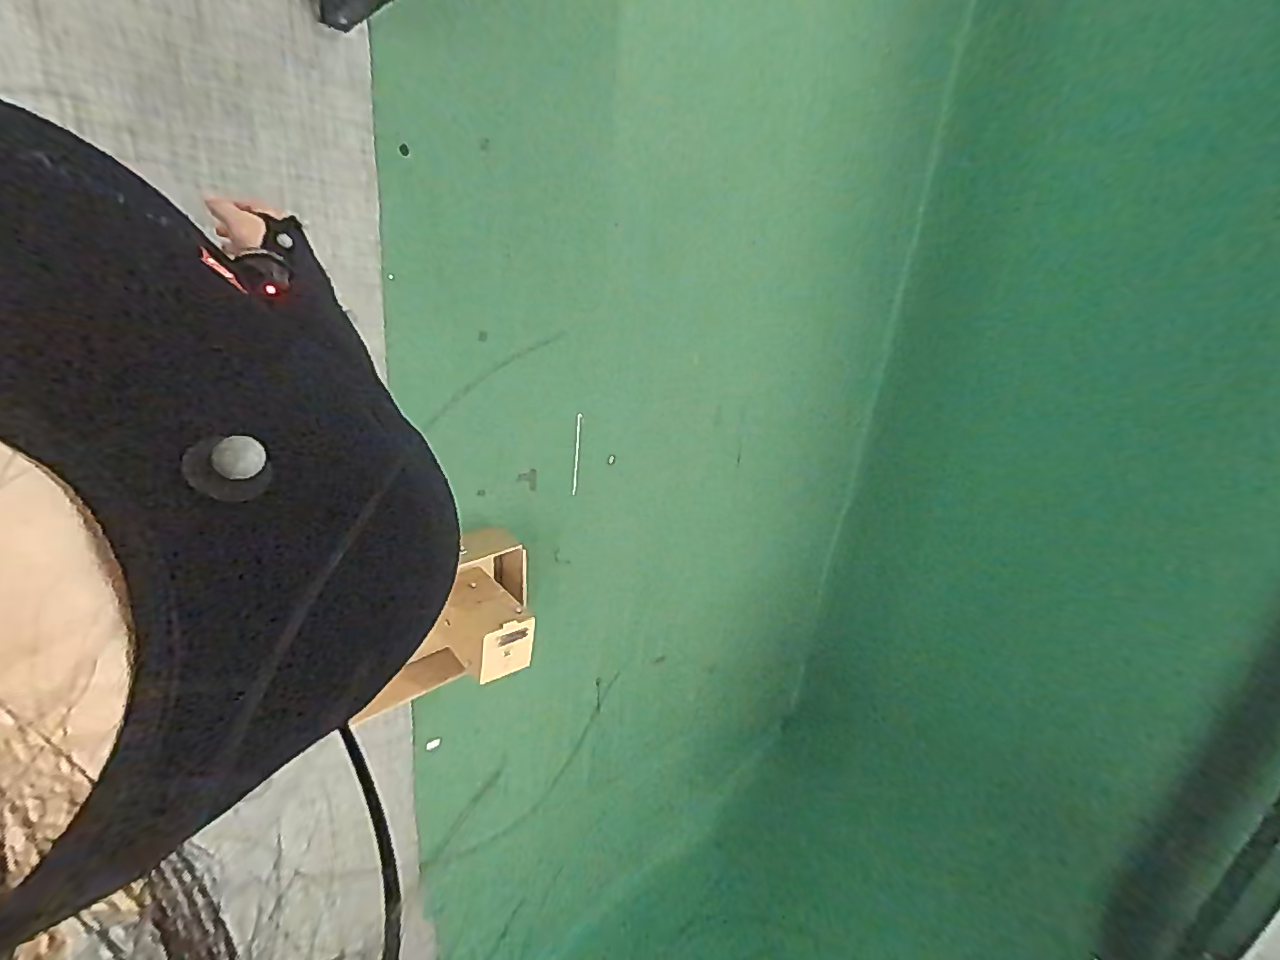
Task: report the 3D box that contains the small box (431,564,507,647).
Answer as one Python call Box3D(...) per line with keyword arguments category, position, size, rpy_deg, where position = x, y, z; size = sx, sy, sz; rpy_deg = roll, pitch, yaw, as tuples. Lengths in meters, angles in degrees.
Box3D(category="small box", position=(-0.540, 0.388, 1.709), size=(0.179, 0.176, 0.168), rpy_deg=(-14, 120, -41))
